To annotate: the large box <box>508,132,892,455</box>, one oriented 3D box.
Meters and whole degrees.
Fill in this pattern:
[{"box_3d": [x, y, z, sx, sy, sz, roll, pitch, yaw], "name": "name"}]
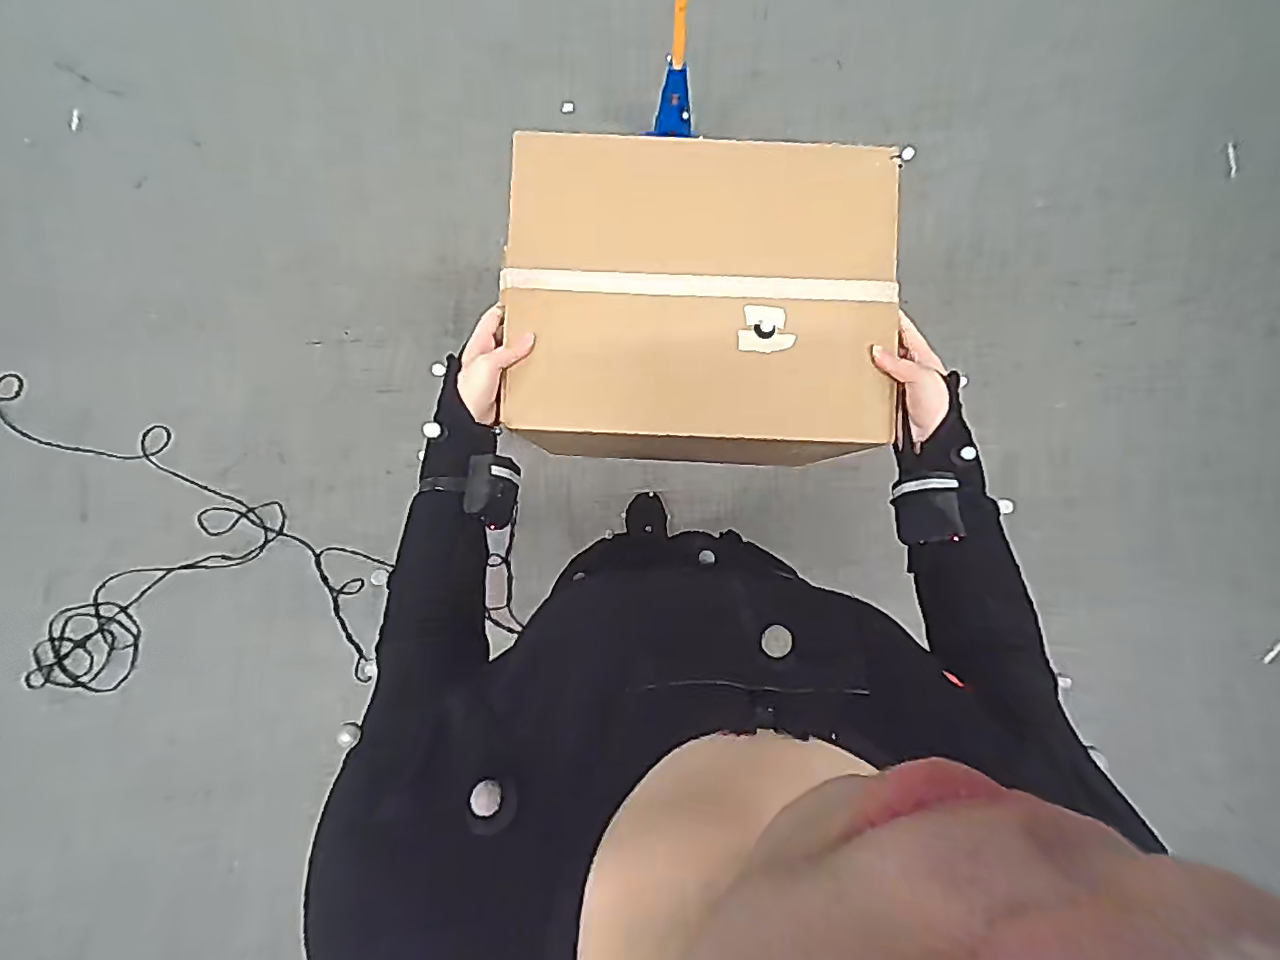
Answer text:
[{"box_3d": [0.060, -0.202, 0.712, 0.408, 0.320, 0.320, 2, 88, -1], "name": "large box"}]
